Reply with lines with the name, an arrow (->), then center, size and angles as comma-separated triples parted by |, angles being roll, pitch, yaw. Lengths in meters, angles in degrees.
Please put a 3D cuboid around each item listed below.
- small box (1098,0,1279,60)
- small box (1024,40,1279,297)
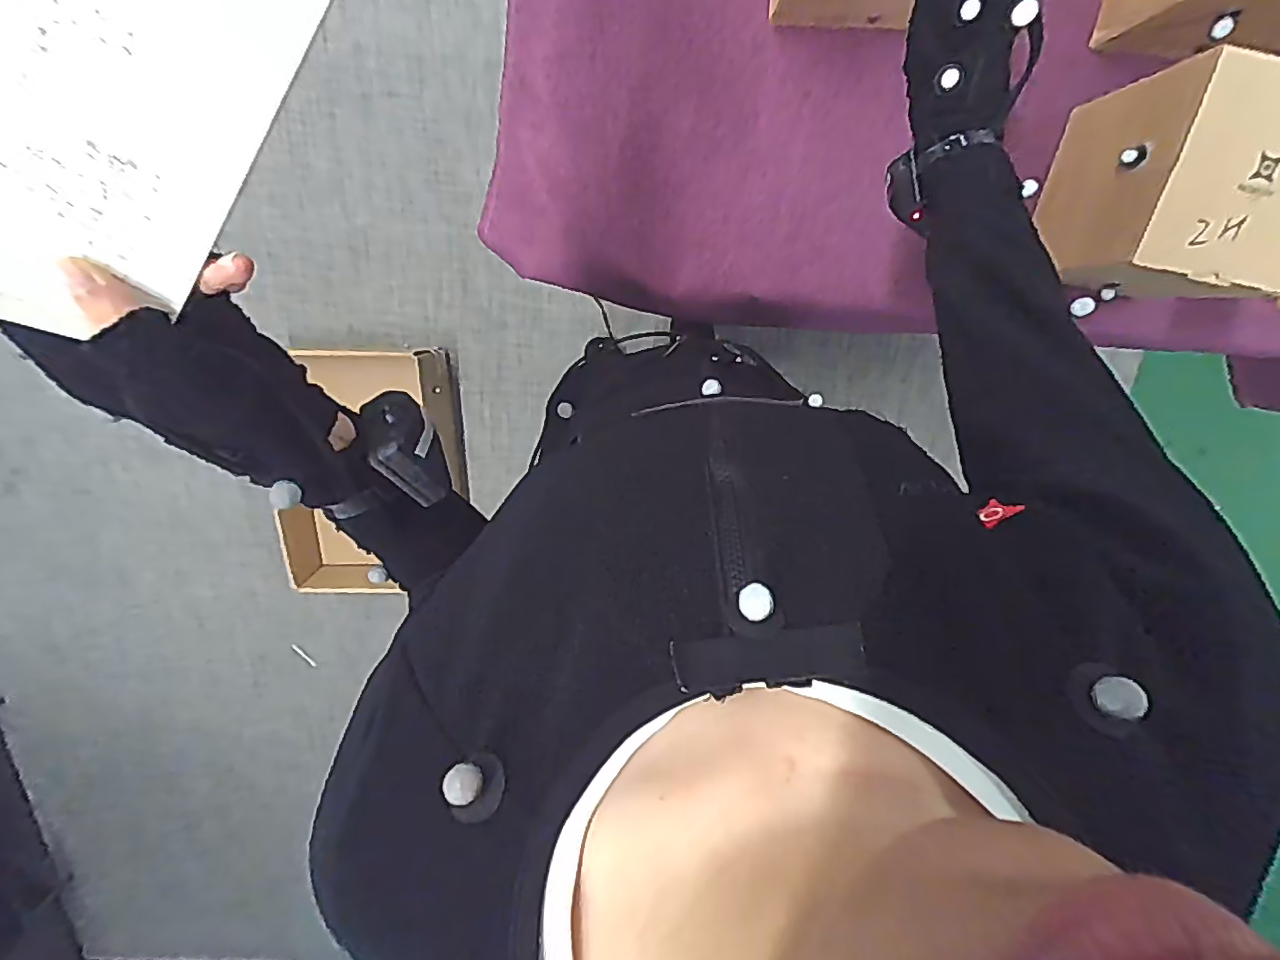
small box -> 0.570, -0.509, 0.482 | 0.168, 0.176, 0.179 | 4, 108, -2
small box -> 0.545, -0.293, 0.551 | 0.168, 0.176, 0.179 | 10, 108, -3
